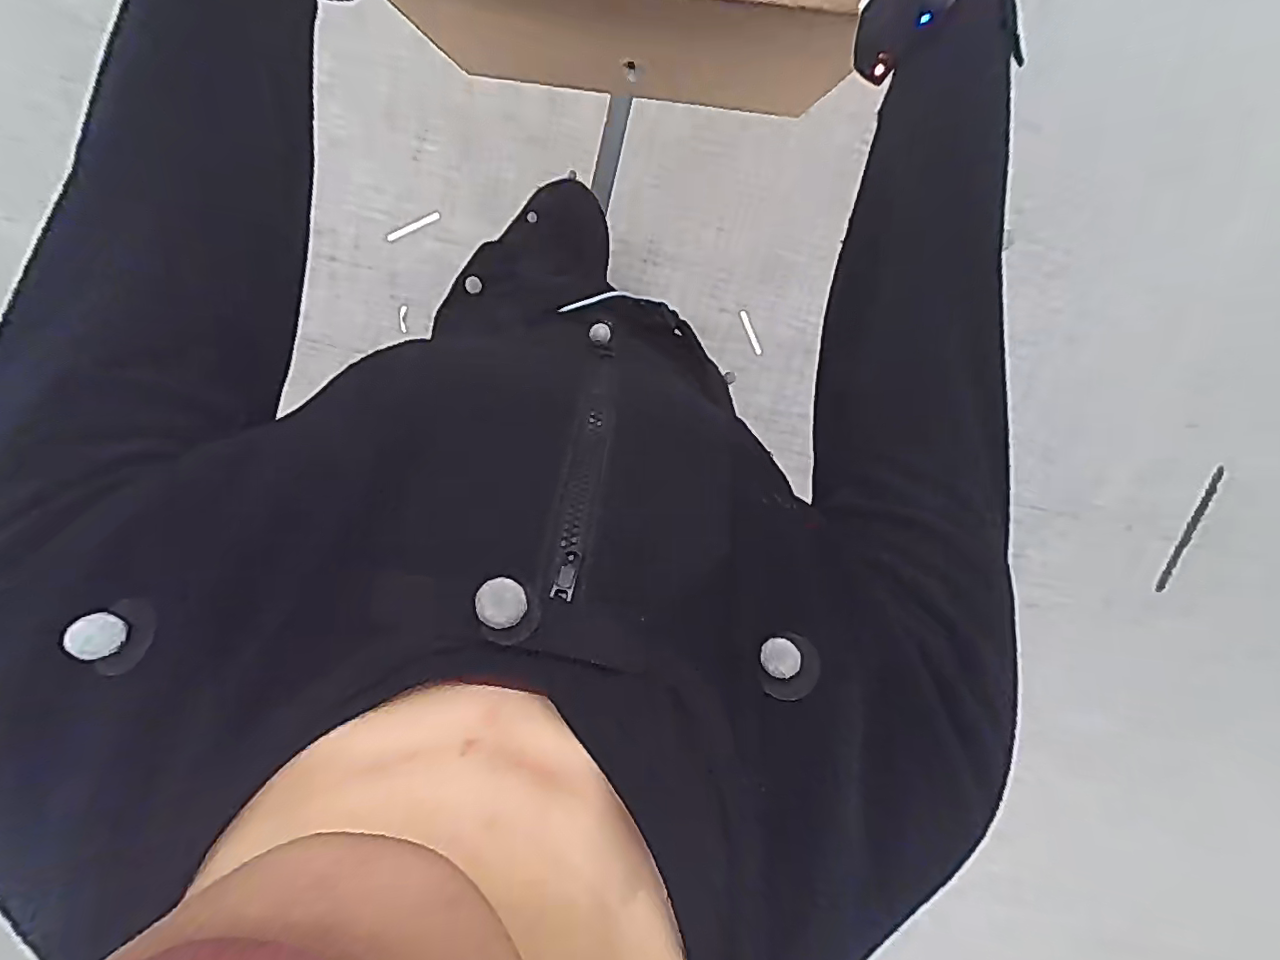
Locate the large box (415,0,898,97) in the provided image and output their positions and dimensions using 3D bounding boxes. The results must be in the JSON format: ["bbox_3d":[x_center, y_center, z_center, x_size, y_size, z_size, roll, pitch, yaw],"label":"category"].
[{"bbox_3d":[0.012,-0.556,0.454,0.408,0.320,0.320,7,113,-1],"label":"large box"}]
